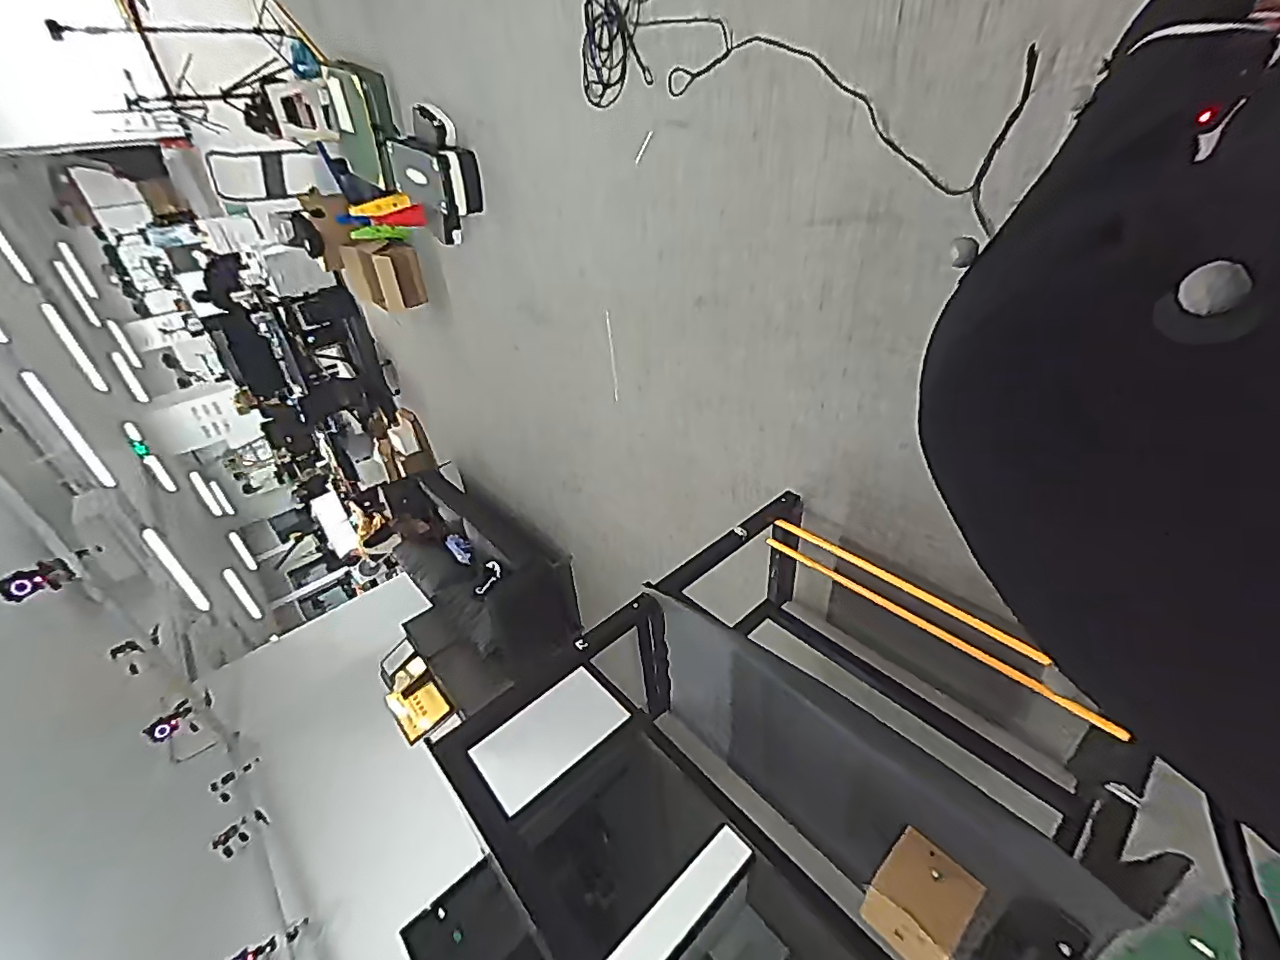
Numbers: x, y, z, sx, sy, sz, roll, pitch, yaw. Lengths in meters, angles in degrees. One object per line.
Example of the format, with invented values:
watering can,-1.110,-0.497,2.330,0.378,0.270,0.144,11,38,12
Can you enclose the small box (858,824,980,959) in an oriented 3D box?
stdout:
small box,0.604,0.904,1.173,0.168,0.176,0.179,30,137,40
